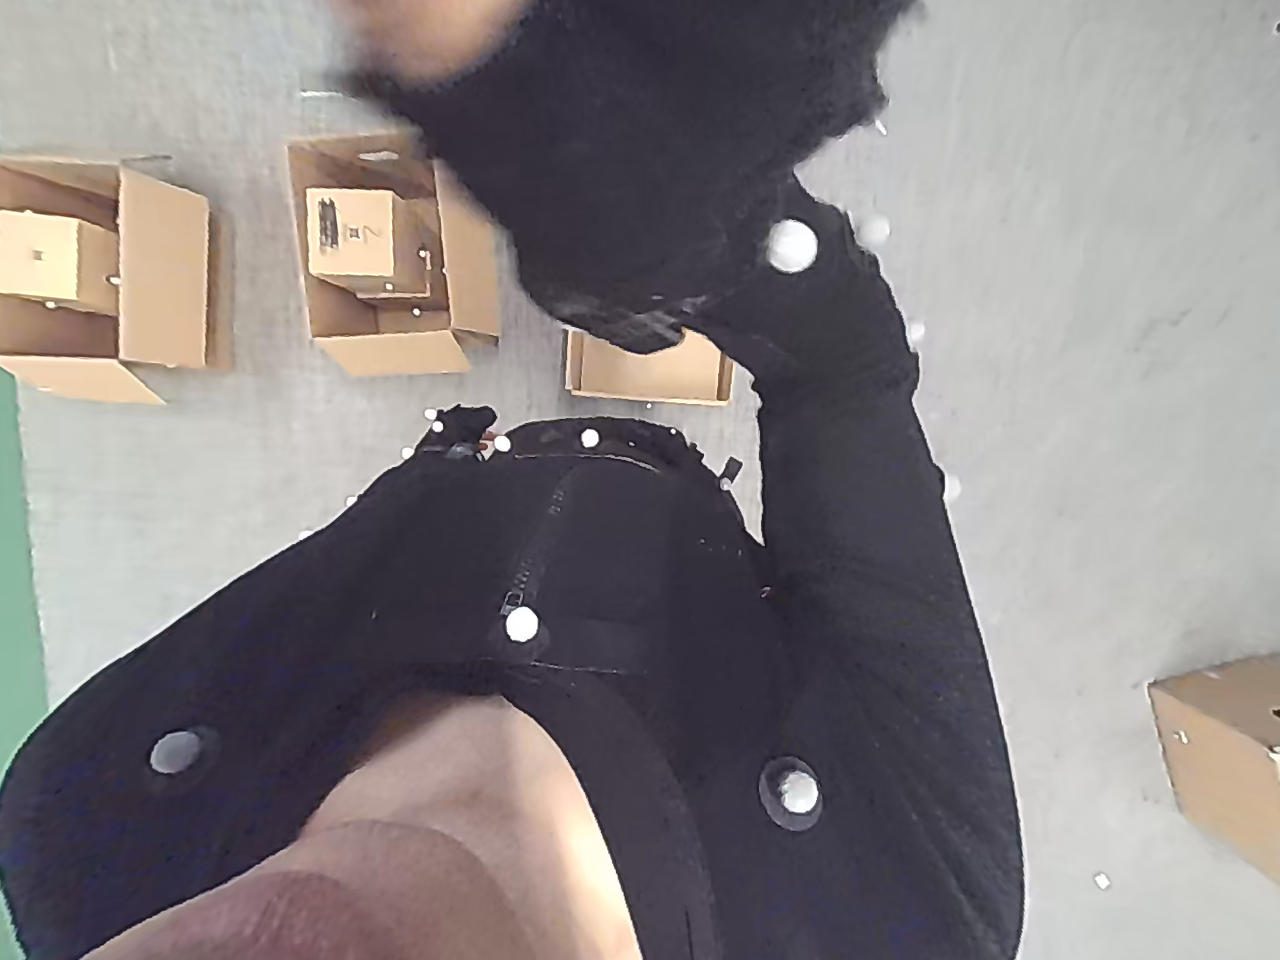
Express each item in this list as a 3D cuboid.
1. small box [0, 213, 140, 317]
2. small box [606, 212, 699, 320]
[{"bbox_3d":[-1.245,-0.459,1.176,0.179,0.176,0.168,5,95,-1],"label":"small box"},{"bbox_3d":[0.024,-0.441,1.138,0.179,0.176,0.168,3,94,-1],"label":"small box"}]
